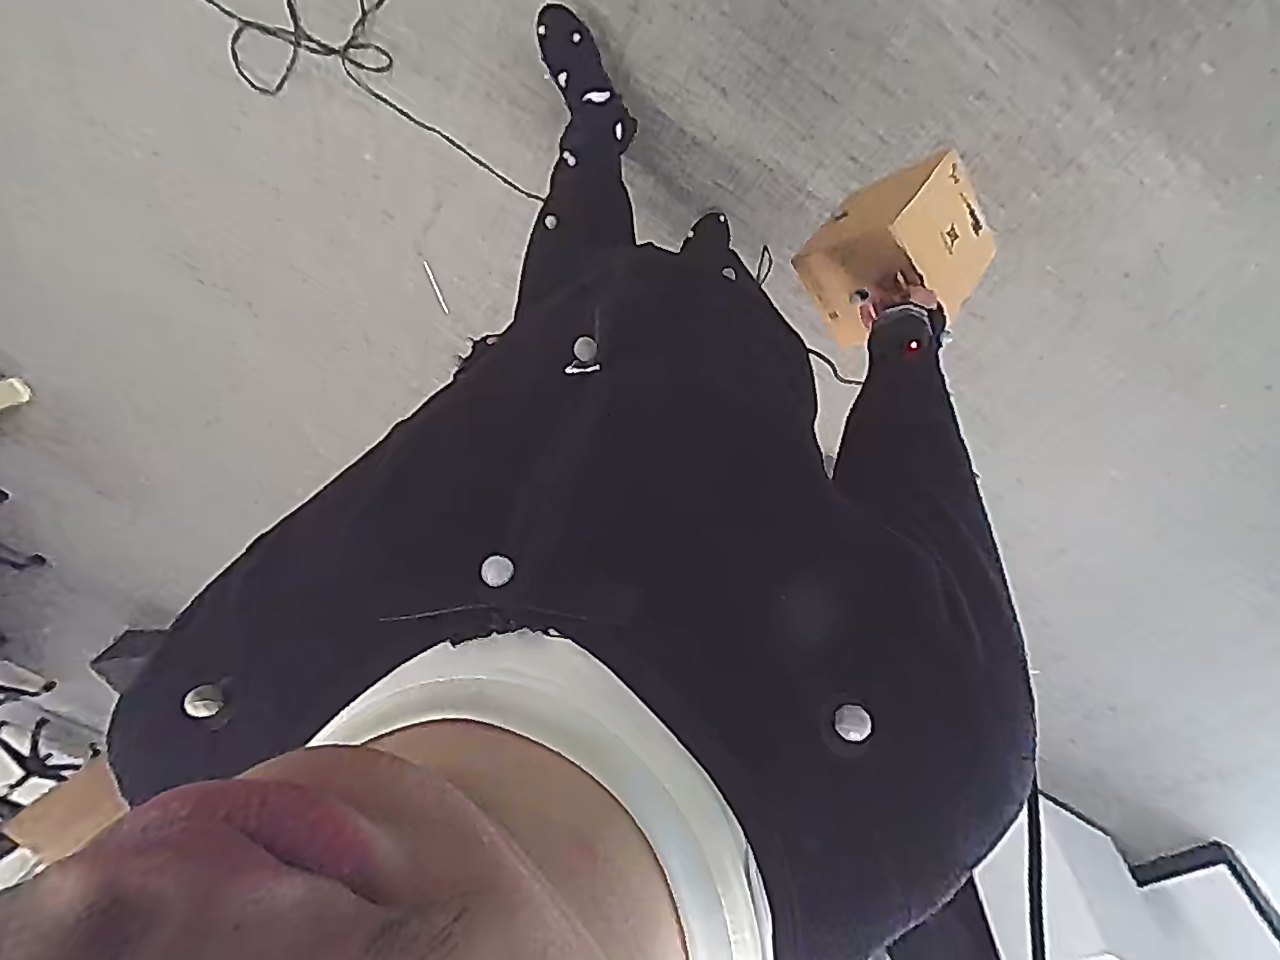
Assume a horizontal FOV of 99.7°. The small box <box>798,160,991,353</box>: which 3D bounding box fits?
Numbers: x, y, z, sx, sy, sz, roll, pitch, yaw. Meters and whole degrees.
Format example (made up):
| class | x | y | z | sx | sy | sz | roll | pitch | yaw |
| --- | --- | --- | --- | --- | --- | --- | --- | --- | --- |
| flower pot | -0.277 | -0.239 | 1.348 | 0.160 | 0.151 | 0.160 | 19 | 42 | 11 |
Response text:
| class | x | y | z | sx | sy | sz | roll | pitch | yaw |
| --- | --- | --- | --- | --- | --- | --- | --- | --- | --- |
| small box | 0.355 | -0.306 | 0.779 | 0.168 | 0.179 | 0.176 | 50 | 159 | -22 |
